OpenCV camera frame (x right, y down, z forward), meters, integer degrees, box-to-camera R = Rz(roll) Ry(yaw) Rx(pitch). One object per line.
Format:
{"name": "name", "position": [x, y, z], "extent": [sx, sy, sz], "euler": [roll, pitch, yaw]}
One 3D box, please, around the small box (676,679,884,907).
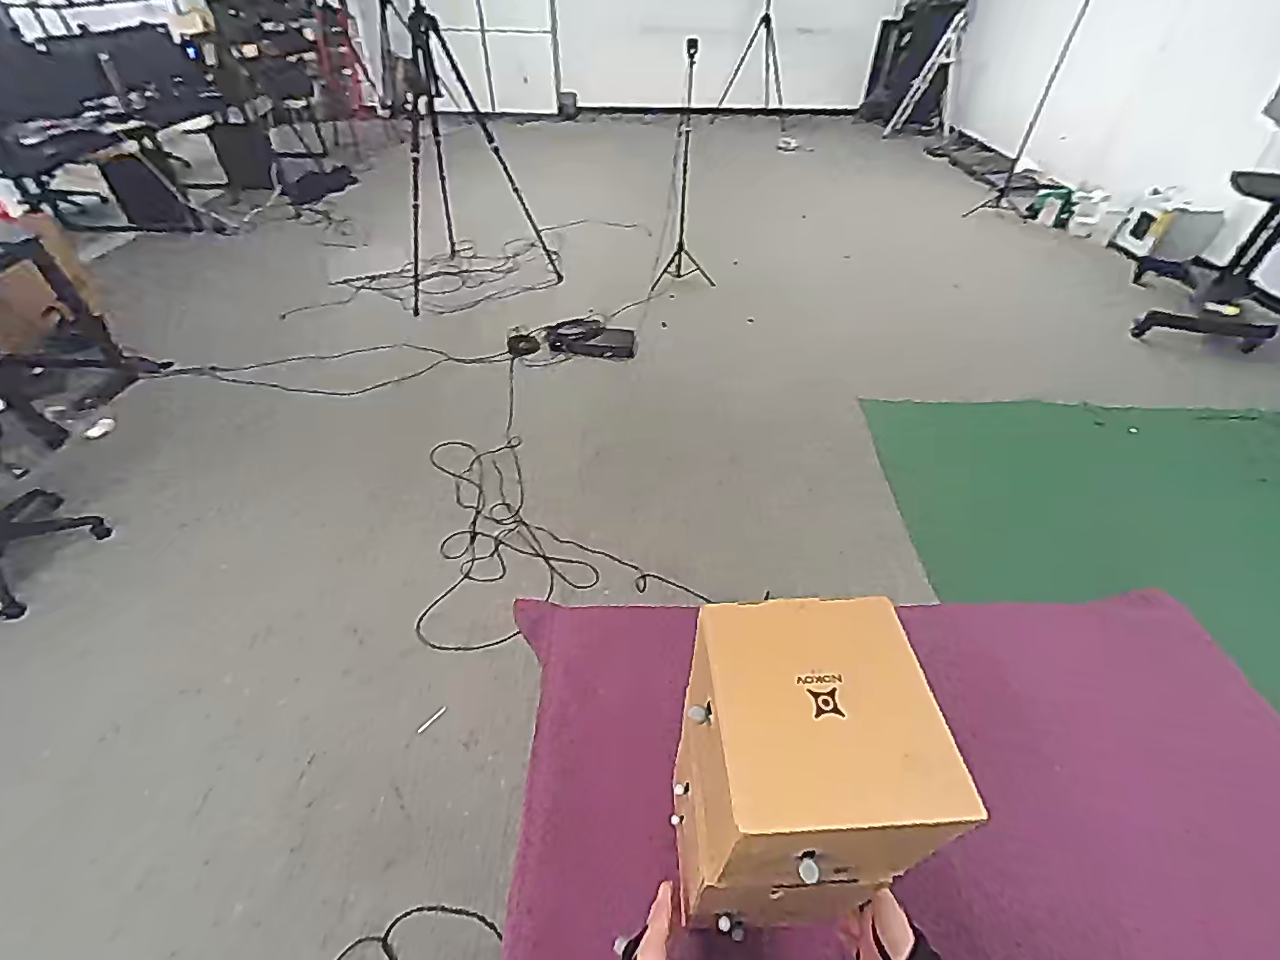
{"name": "small box", "position": [0.127, 0.329, 0.568], "extent": [0.168, 0.176, 0.179], "euler": [0, 43, -1]}

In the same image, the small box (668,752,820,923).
{"name": "small box", "position": [0.125, 0.440, 0.689], "extent": [0.168, 0.176, 0.179], "euler": [0, 45, -1]}

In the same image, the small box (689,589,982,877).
{"name": "small box", "position": [0.134, 0.214, 0.455], "extent": [0.168, 0.176, 0.179], "euler": [-2, 43, -2]}
